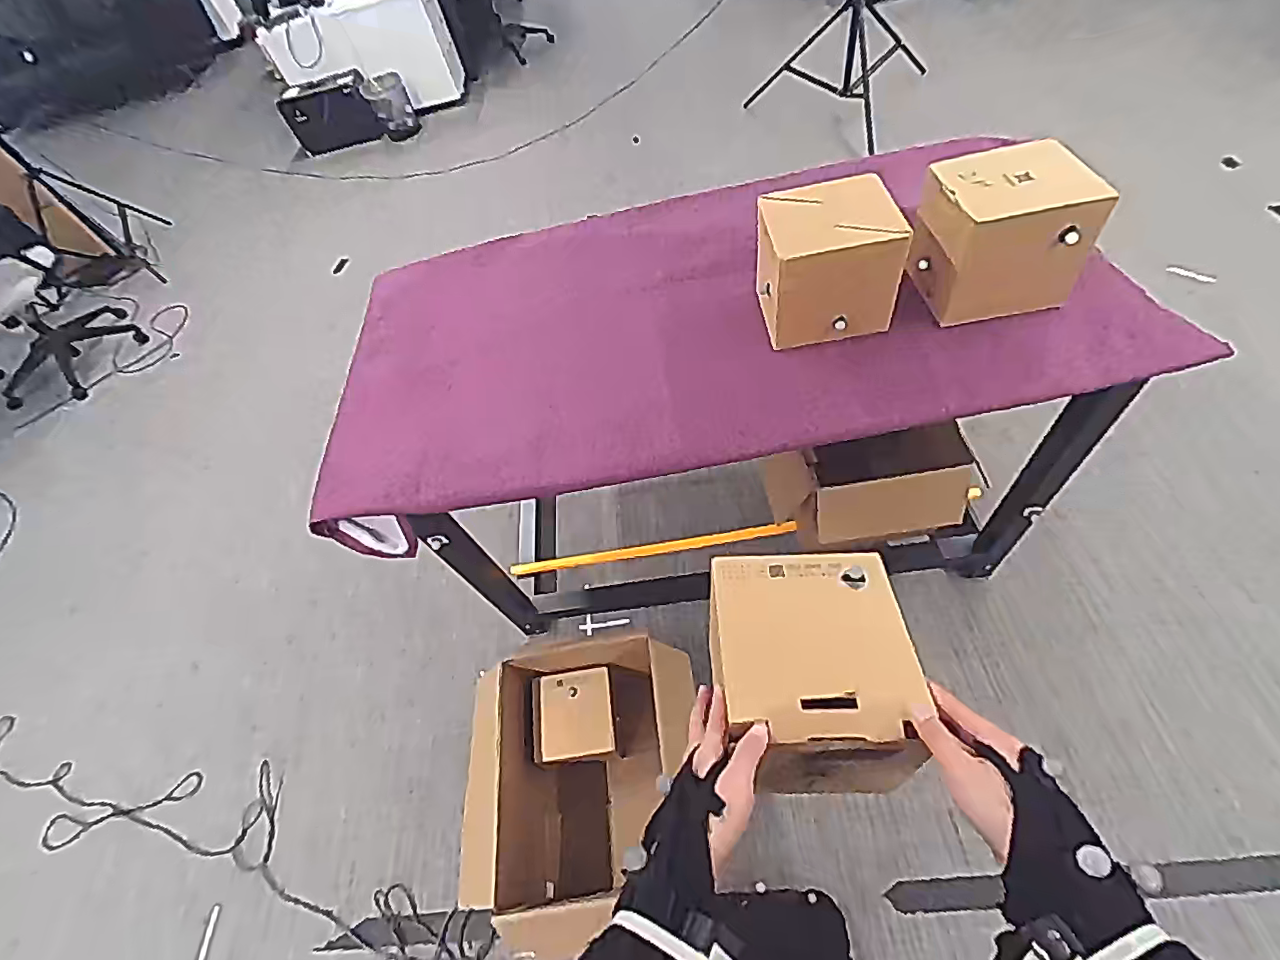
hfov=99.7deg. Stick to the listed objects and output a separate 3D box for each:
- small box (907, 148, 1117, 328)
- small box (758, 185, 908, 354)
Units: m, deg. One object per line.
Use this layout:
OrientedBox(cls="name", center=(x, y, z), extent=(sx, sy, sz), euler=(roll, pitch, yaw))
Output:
OrientedBox(cls="small box", center=(0.524, -0.349, 0.796), extent=(0.179, 0.176, 0.168), euler=(-8, 53, 6))
OrientedBox(cls="small box", center=(0.282, -0.323, 0.829), extent=(0.179, 0.176, 0.168), euler=(-9, 54, 7))
